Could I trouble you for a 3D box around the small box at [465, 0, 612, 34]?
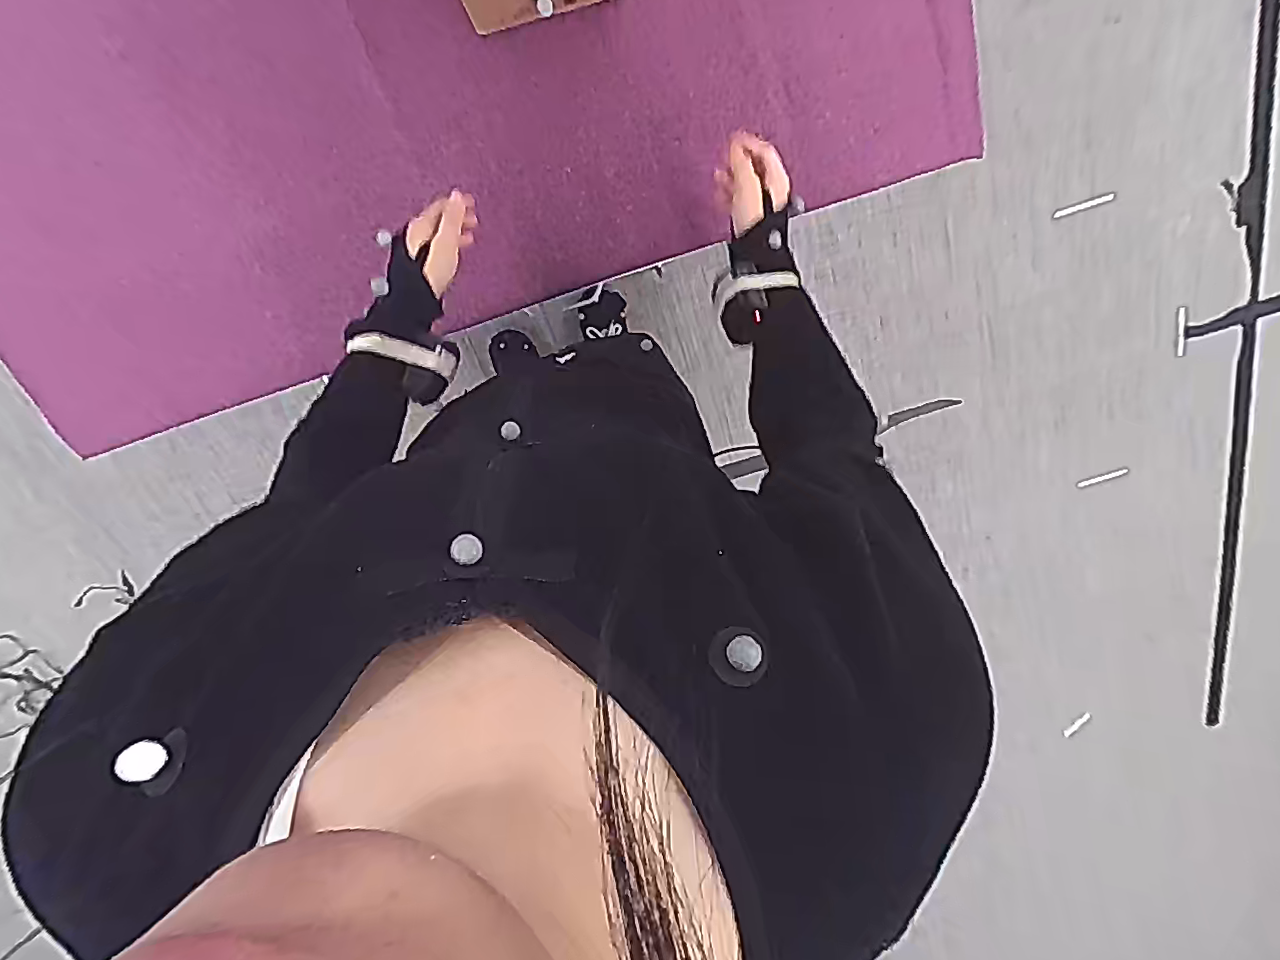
[{"bbox_3d":[-0.111,-0.548,0.477,0.168,0.176,0.179,-14,112,1],"label":"small box"}]
